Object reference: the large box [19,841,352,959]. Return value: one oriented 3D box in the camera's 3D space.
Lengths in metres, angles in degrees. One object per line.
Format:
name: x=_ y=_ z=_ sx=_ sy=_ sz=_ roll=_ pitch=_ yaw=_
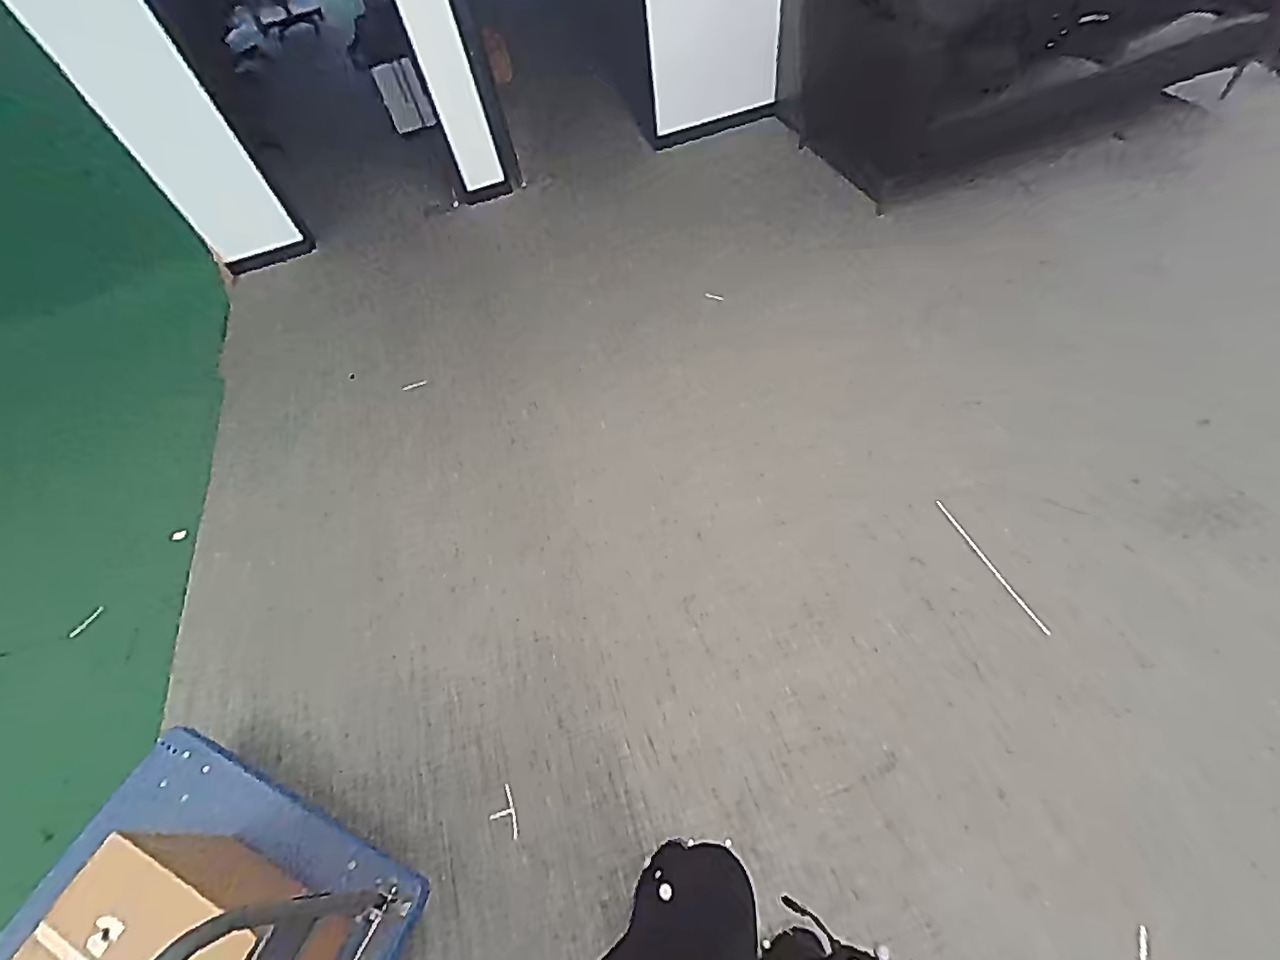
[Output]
large box: x=-0.859 y=0.939 z=1.015 sx=0.408 sy=0.320 sz=0.320 roll=15 pitch=58 yaw=19
